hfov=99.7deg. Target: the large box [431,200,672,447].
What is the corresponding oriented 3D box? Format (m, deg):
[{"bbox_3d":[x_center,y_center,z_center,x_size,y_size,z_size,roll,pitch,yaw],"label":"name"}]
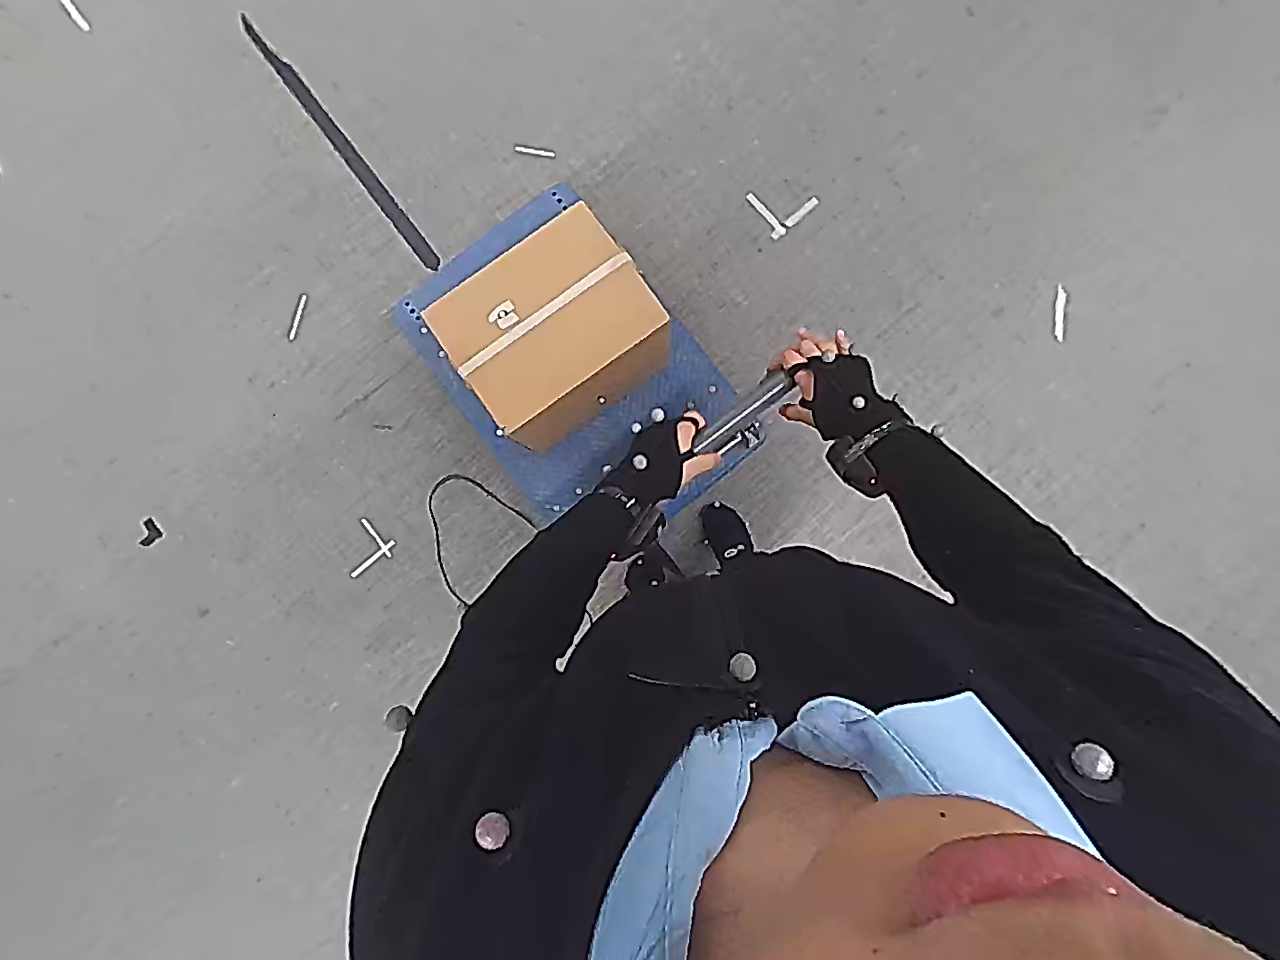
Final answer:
[{"bbox_3d":[-0.175,-0.327,1.238,0.408,0.320,0.320,-36,84,0],"label":"large box"}]
